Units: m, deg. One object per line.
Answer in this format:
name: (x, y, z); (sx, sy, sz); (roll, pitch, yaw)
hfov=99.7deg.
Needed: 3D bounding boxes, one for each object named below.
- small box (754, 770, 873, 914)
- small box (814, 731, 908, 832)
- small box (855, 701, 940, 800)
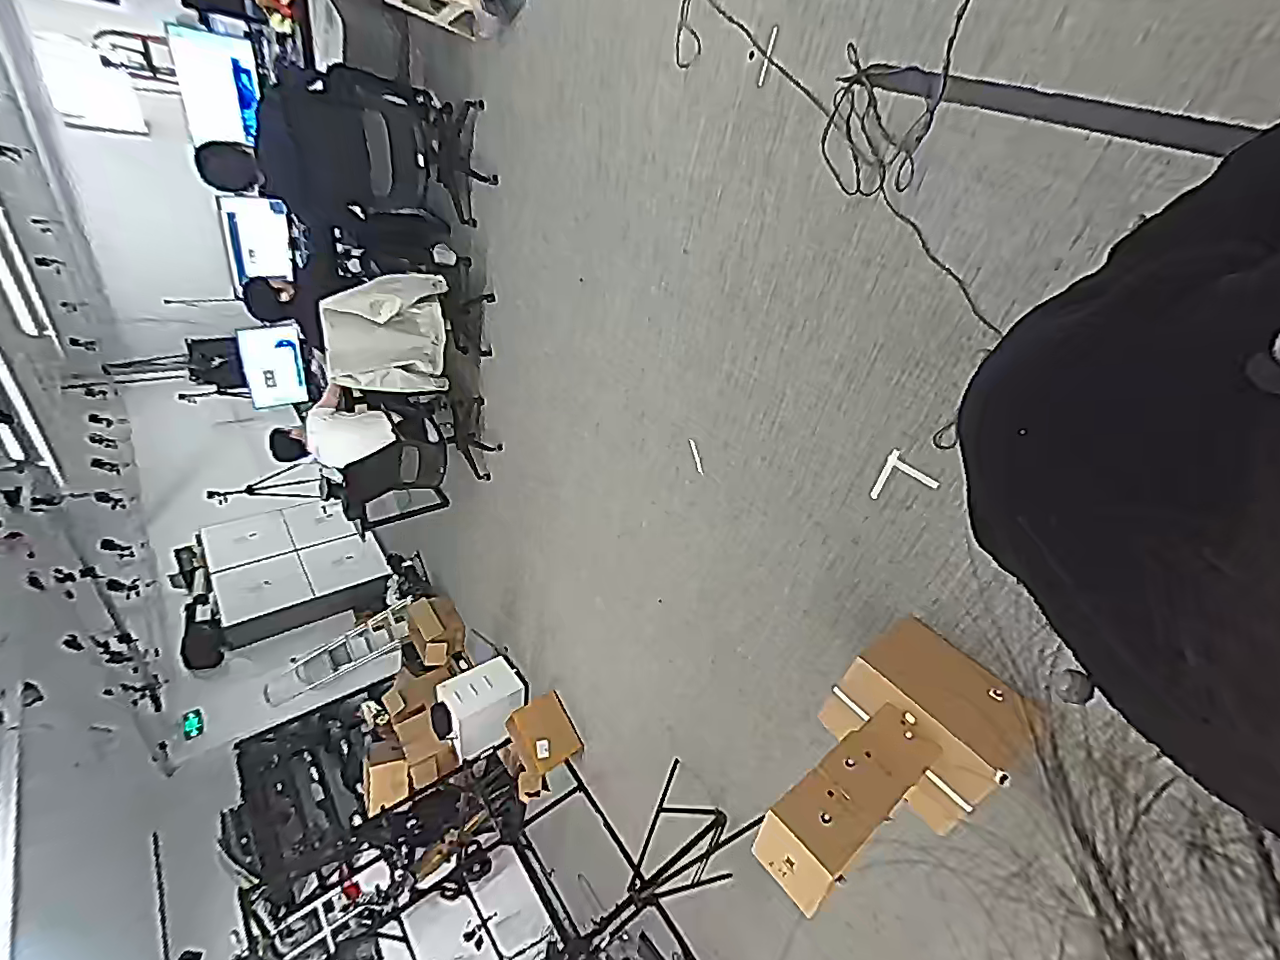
small box: (0.386, 0.791, 1.200); (0.168, 0.176, 0.179); (36, 129, 40)
small box: (0.511, 0.747, 1.299); (0.168, 0.176, 0.179); (40, 133, 37)
small box: (0.637, 0.716, 1.397); (0.168, 0.176, 0.179); (40, 131, 36)
